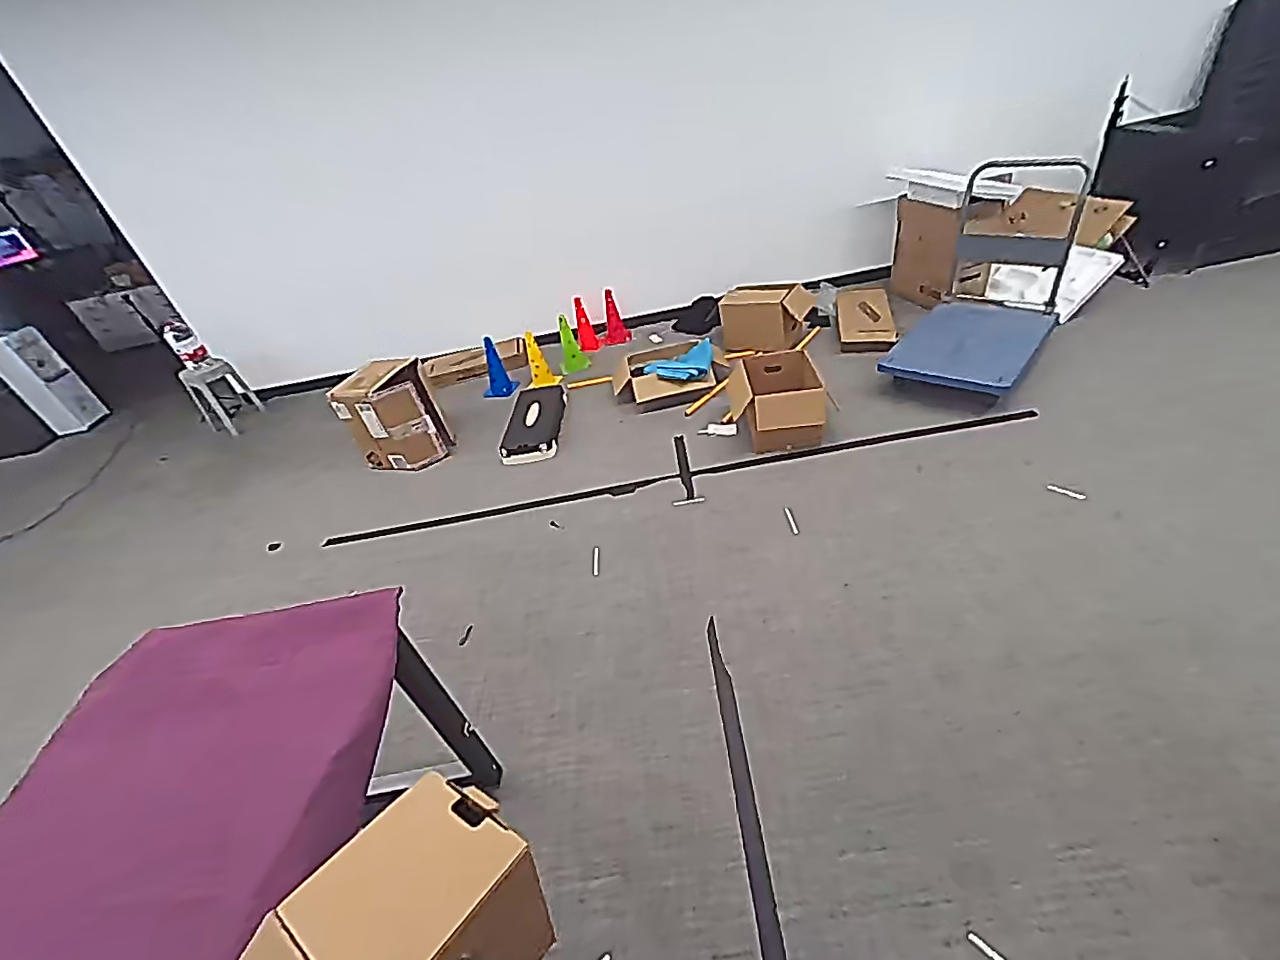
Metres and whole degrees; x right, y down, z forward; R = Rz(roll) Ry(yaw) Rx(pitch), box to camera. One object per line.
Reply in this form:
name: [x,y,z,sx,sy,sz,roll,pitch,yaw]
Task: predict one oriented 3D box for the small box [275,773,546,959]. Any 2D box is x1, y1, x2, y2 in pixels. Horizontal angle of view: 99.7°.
small box: [-0.217,0.455,0.547,0.168,0.176,0.179,11,28,34]
